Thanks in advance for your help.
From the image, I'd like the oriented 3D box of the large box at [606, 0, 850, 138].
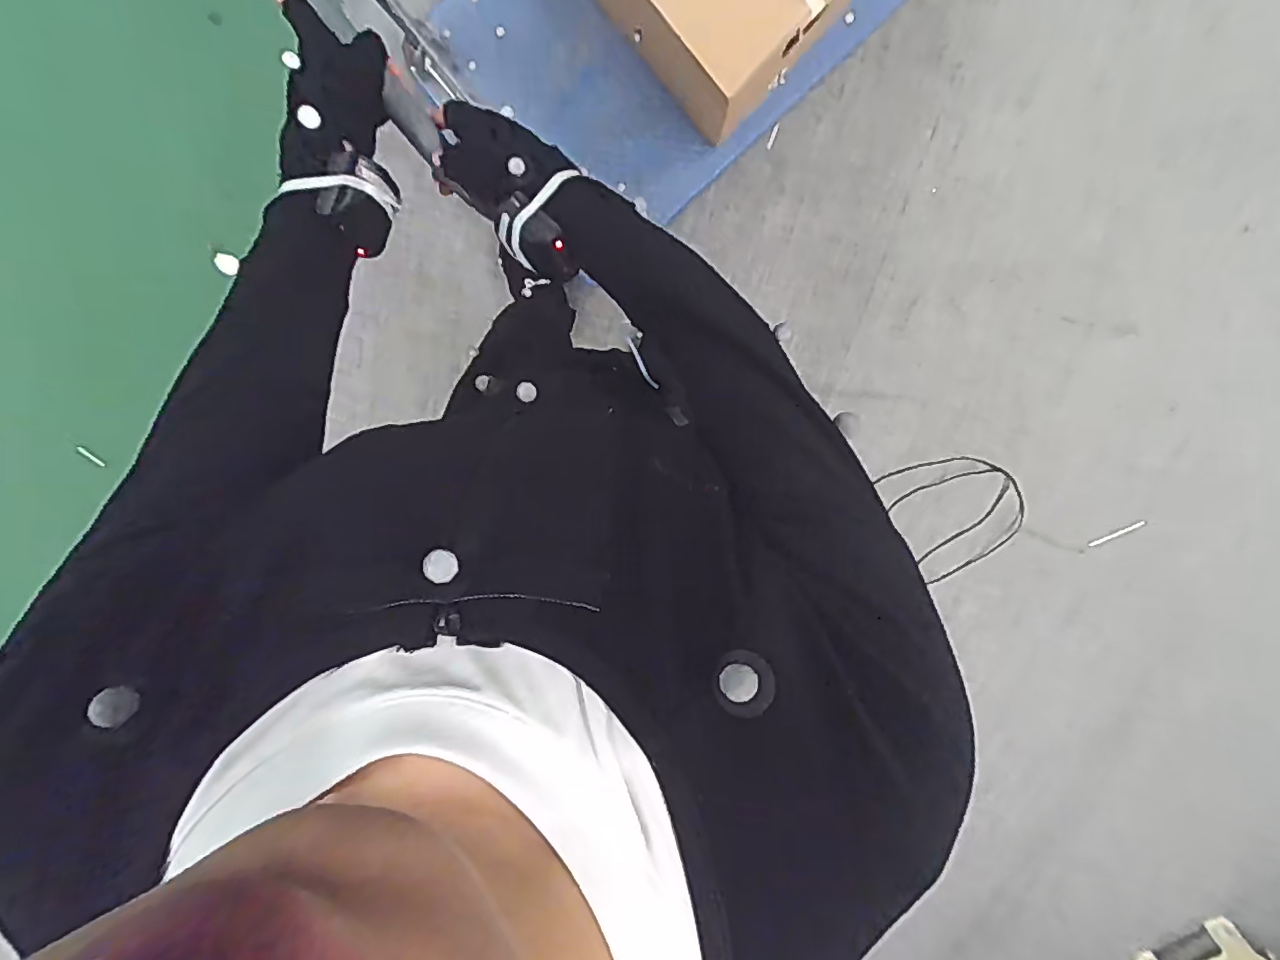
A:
[{"bbox_3d":[0.122,-0.853,0.857,0.320,0.320,0.408,-42,101,17],"label":"large box"}]
